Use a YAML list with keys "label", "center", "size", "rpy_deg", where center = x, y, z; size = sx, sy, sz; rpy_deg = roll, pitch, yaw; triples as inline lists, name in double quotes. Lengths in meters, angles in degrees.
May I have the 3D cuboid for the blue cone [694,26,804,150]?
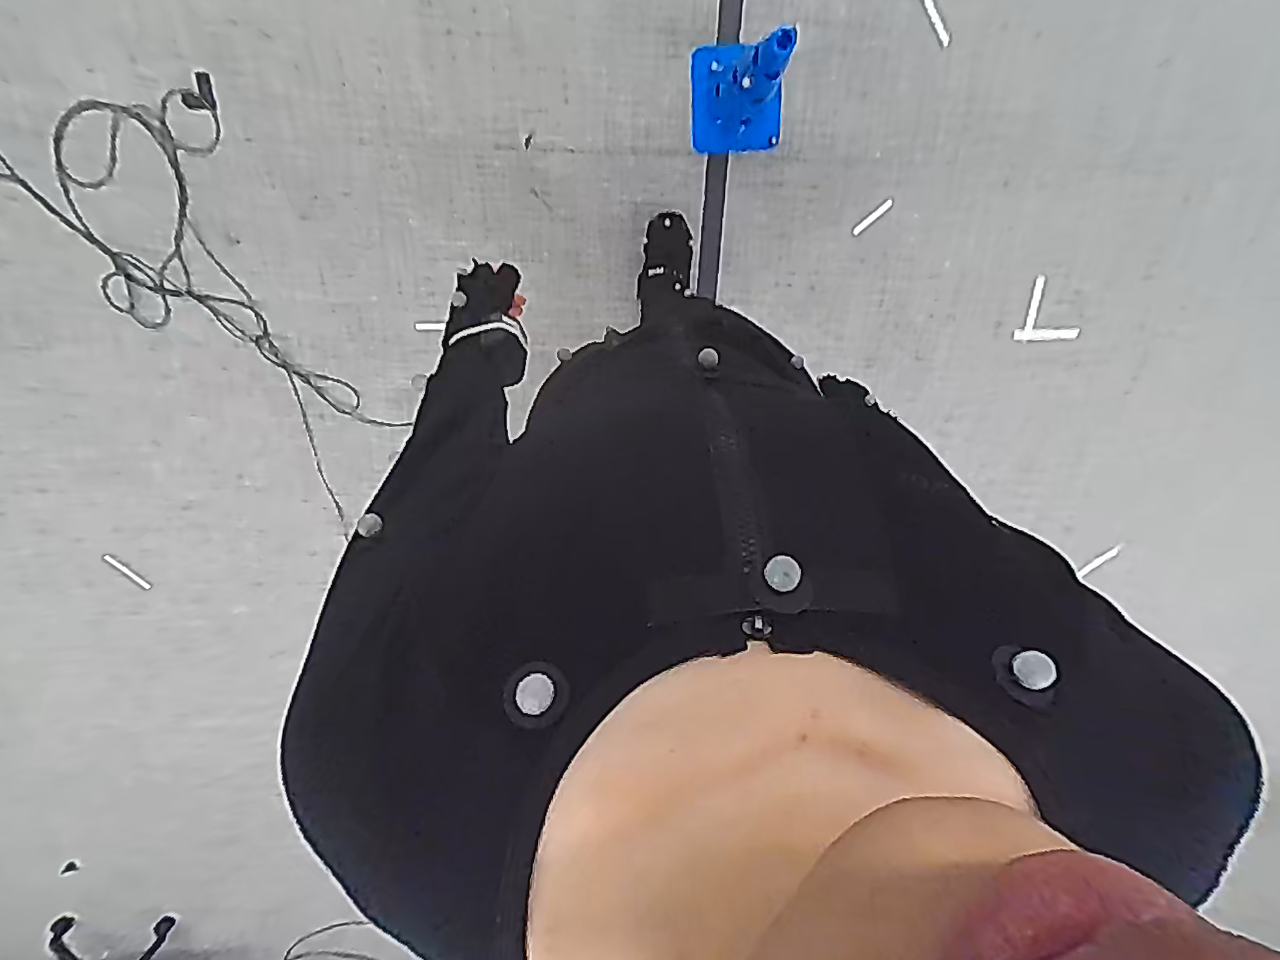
- label: "blue cone"
  center: [0.226, -0.783, 1.048]
  size: [0.192, 0.380, 0.193]
  rpy_deg: [-3, 112, -3]
